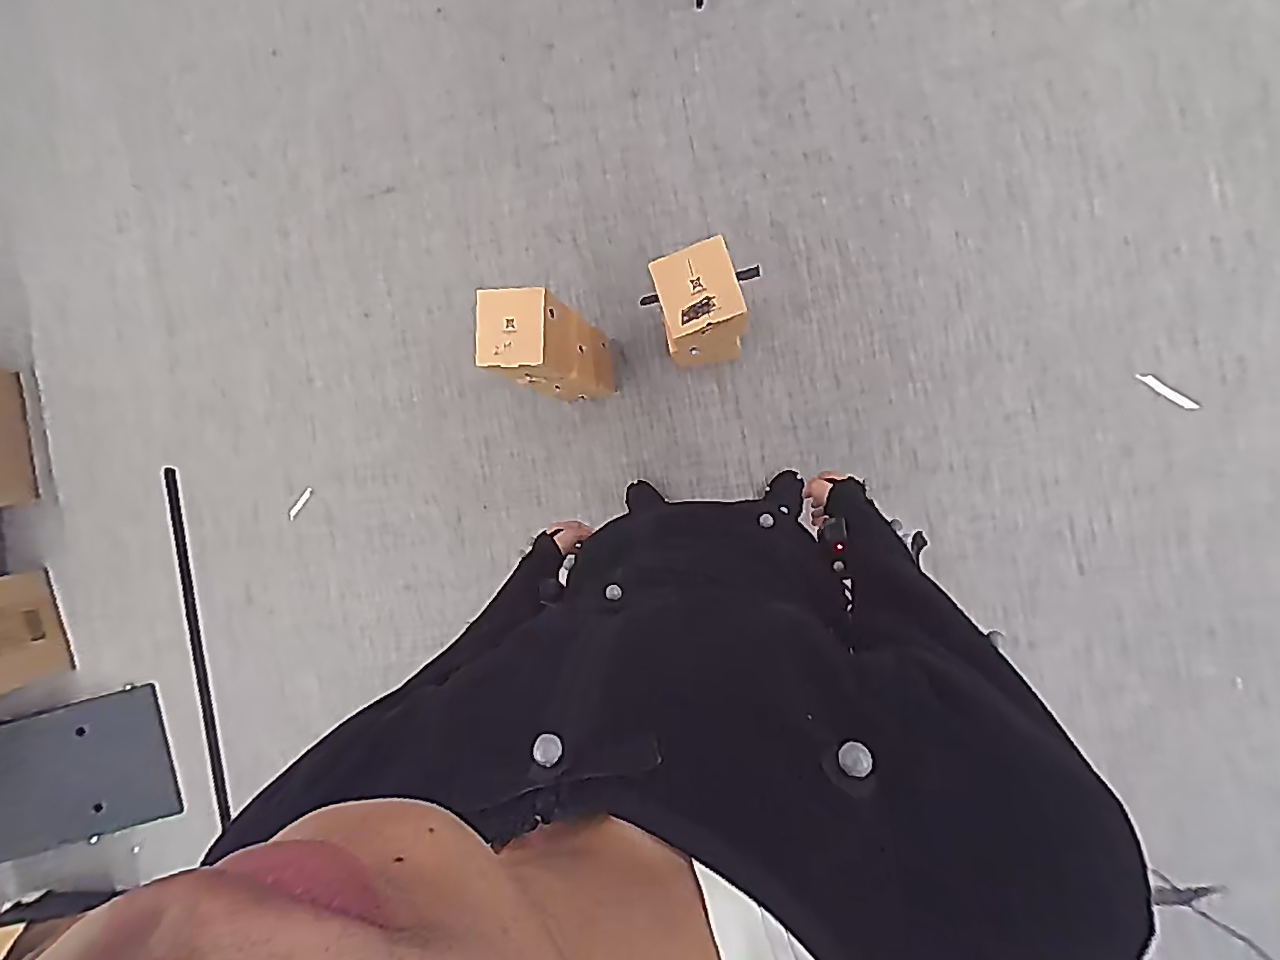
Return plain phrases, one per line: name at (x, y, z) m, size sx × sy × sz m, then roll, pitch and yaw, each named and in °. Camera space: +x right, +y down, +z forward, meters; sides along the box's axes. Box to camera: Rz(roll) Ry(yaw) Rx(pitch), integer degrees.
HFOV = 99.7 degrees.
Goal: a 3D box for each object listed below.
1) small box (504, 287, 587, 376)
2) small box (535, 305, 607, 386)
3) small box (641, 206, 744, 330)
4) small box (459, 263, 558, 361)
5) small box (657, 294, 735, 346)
small box at (-0.240, -0.370, 1.373) m, size 0.168 × 0.176 × 0.179 m, roll -4°, pitch 92°, yaw 12°
small box at (-0.200, -0.373, 1.528) m, size 0.168 × 0.176 × 0.179 m, roll -7°, pitch 91°, yaw 13°
small box at (0.116, -0.429, 1.135) m, size 0.168 × 0.176 × 0.179 m, roll -18°, pitch 89°, yaw 10°
small box at (-0.289, -0.370, 1.215) m, size 0.168 × 0.176 × 0.179 m, roll 2°, pitch 93°, yaw 11°
small box at (0.131, -0.439, 1.300) m, size 0.168 × 0.176 × 0.179 m, roll -11°, pitch 90°, yaw 10°
